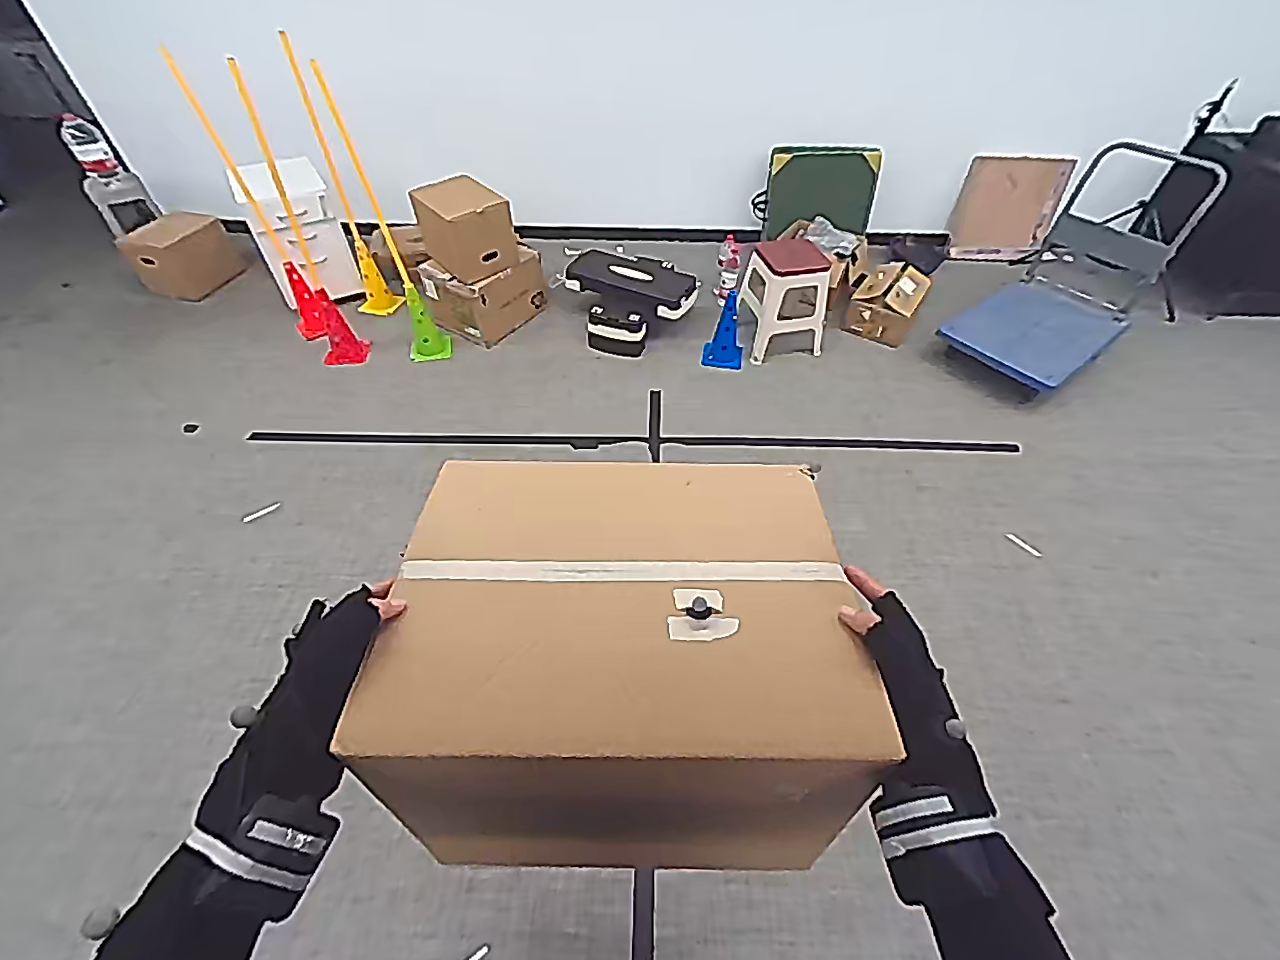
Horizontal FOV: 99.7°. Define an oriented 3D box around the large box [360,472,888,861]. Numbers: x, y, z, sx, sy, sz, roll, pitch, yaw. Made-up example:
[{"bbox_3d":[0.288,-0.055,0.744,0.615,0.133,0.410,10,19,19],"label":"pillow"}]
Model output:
[{"bbox_3d":[-0.014,0.205,0.608,0.408,0.320,0.320,1,43,0],"label":"large box"}]
